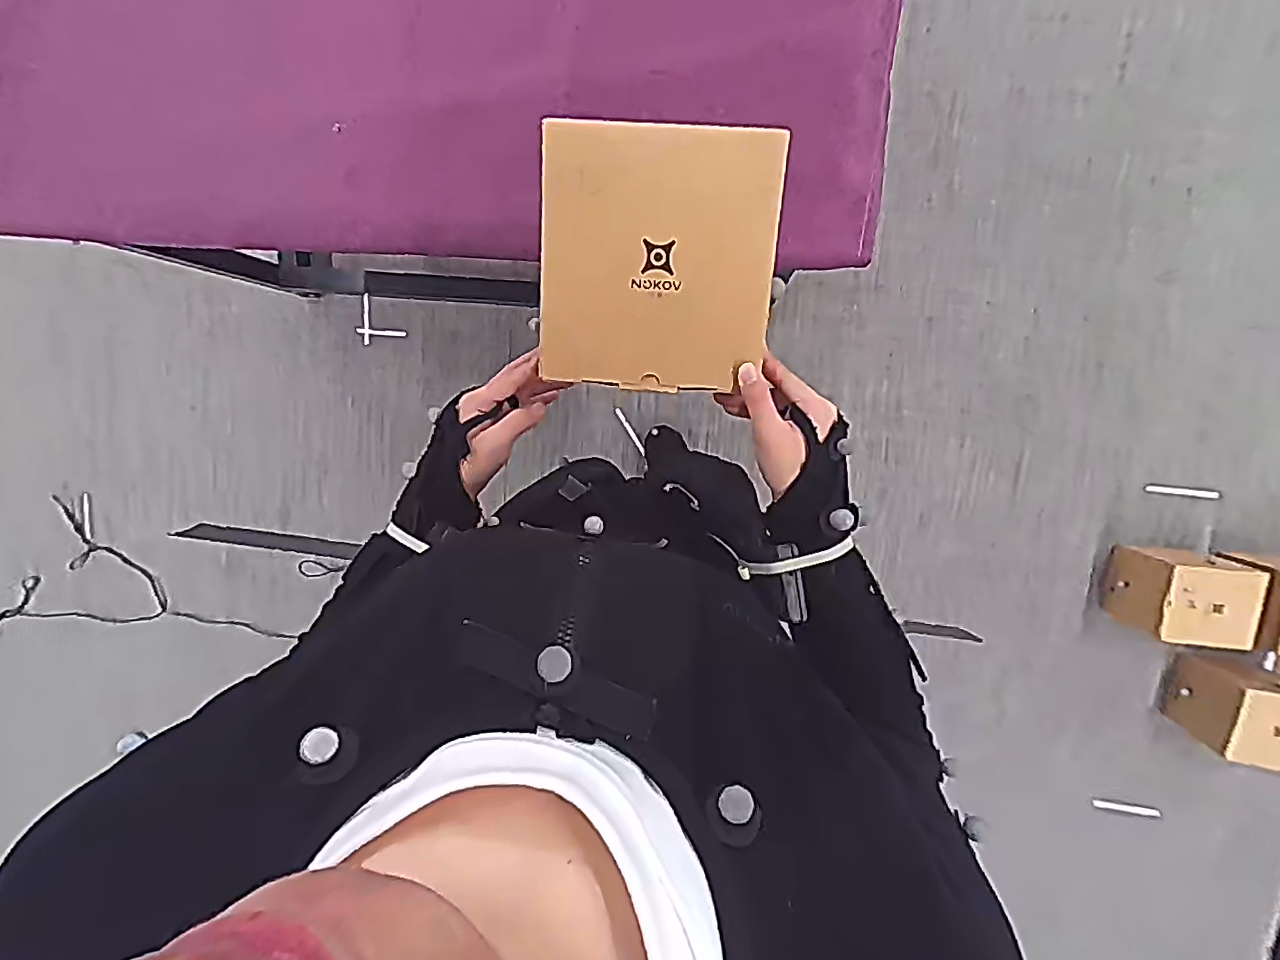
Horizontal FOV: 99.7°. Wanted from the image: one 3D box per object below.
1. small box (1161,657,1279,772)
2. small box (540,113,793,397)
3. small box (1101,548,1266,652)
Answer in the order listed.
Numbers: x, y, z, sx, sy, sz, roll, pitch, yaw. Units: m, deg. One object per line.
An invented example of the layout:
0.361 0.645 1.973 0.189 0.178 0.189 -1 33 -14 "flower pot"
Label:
1.334 0.515 1.198 0.179 0.176 0.168 8 99 7 "small box"
0.015 -0.171 0.450 0.168 0.176 0.179 4 106 1 "small box"
1.171 0.253 1.179 0.179 0.176 0.168 5 98 6 "small box"
